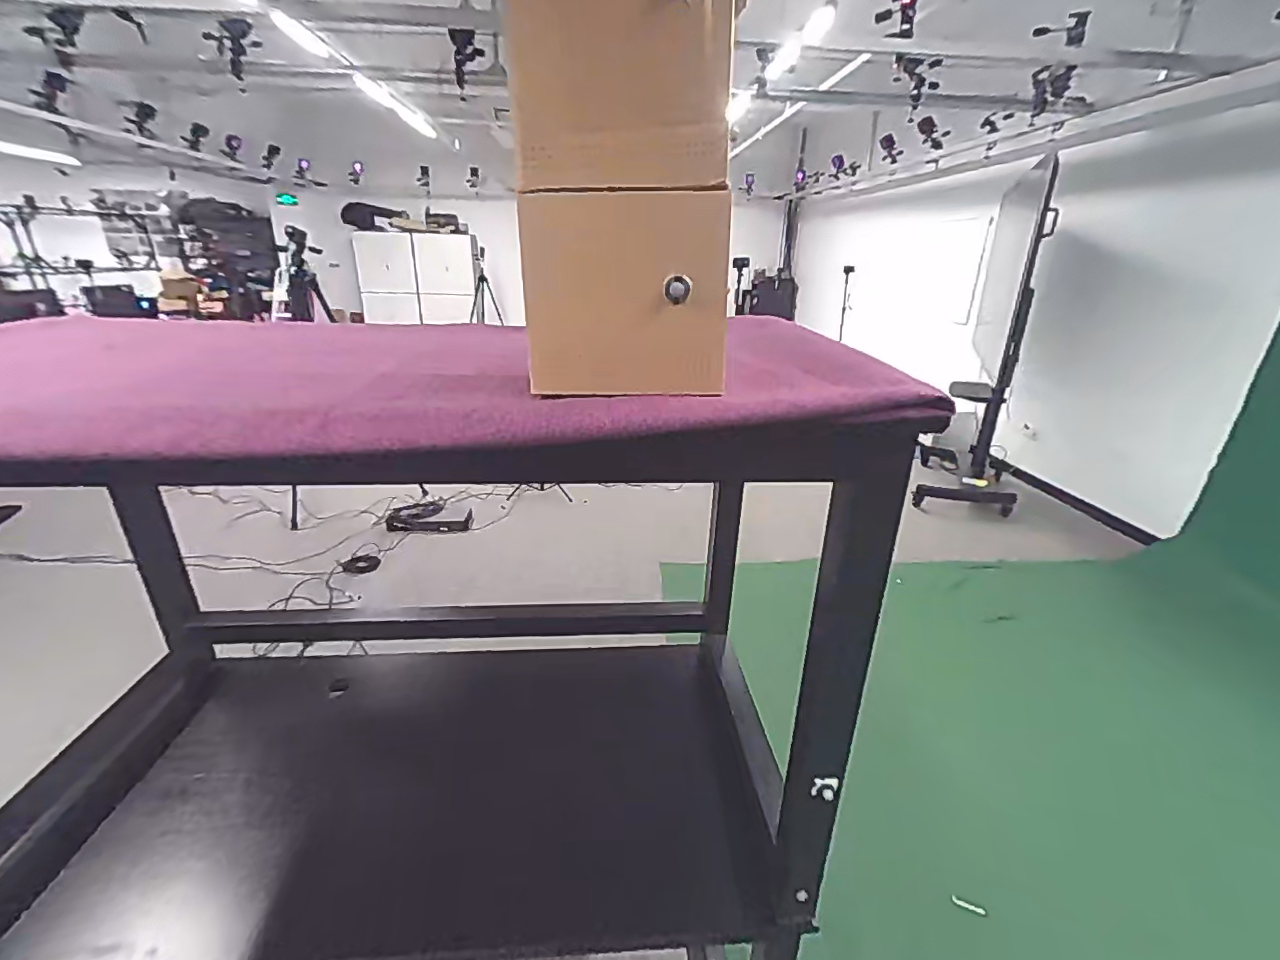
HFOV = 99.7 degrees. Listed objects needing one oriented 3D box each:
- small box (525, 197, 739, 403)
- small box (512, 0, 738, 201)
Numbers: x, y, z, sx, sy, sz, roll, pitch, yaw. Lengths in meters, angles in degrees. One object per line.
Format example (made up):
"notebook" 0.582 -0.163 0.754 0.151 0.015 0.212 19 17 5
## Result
"small box" -0.004 -0.174 0.537 0.179 0.176 0.168 -1 19 1
"small box" -0.007 -0.329 0.488 0.179 0.176 0.168 2 19 4
